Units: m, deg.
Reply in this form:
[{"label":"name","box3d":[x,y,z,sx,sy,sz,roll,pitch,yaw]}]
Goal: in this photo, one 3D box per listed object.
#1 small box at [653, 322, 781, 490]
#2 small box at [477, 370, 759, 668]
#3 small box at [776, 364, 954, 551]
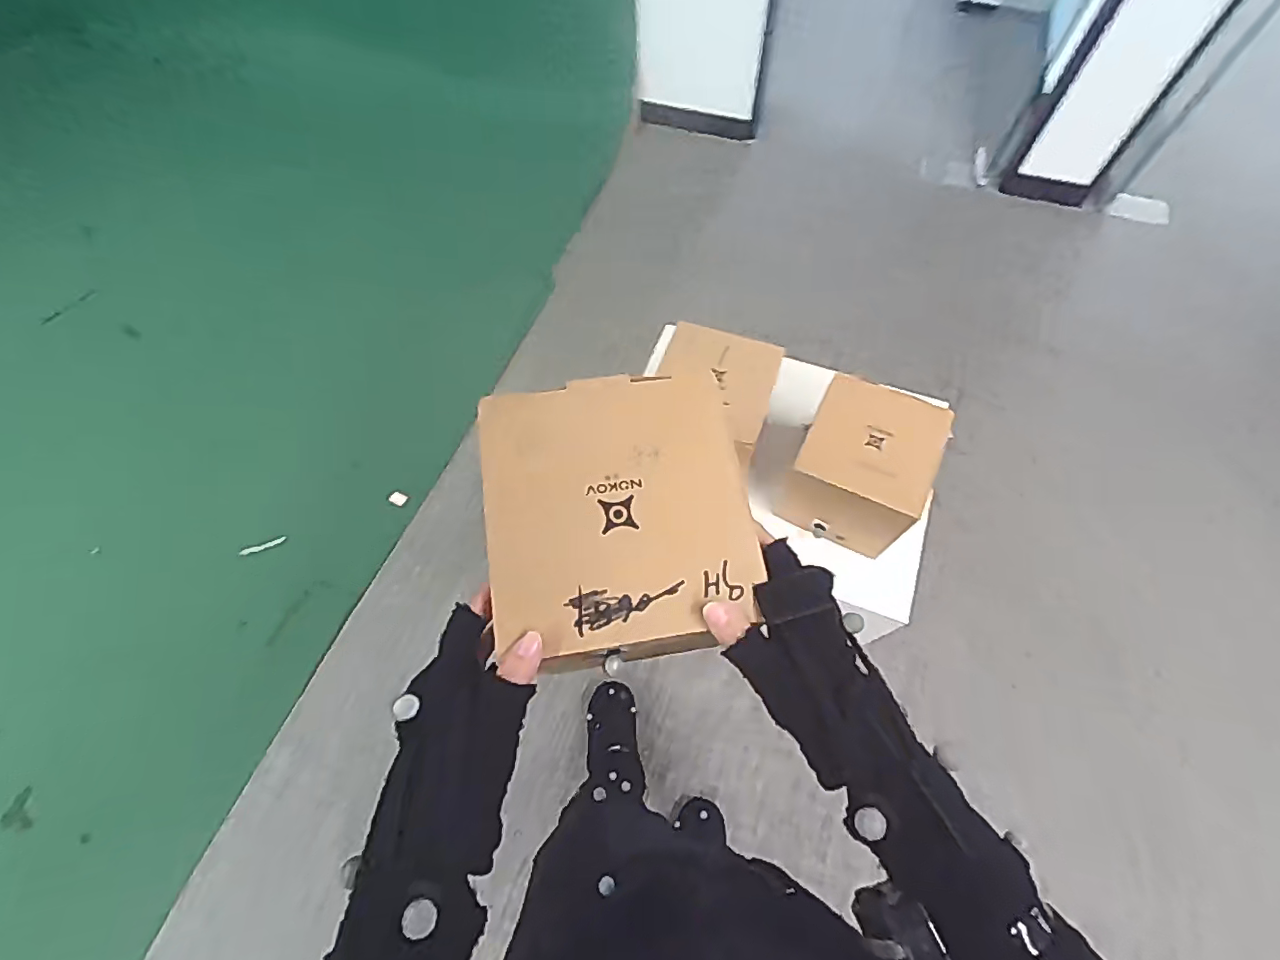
[{"label":"small box","box3d":[0.104,-0.106,0.836,0.168,0.176,0.179,18,65,10]},{"label":"small box","box3d":[-0.025,0.039,0.424,0.168,0.176,0.179,-8,68,-6]},{"label":"small box","box3d":[0.308,-0.026,0.772,0.168,0.176,0.179,23,69,14]}]
